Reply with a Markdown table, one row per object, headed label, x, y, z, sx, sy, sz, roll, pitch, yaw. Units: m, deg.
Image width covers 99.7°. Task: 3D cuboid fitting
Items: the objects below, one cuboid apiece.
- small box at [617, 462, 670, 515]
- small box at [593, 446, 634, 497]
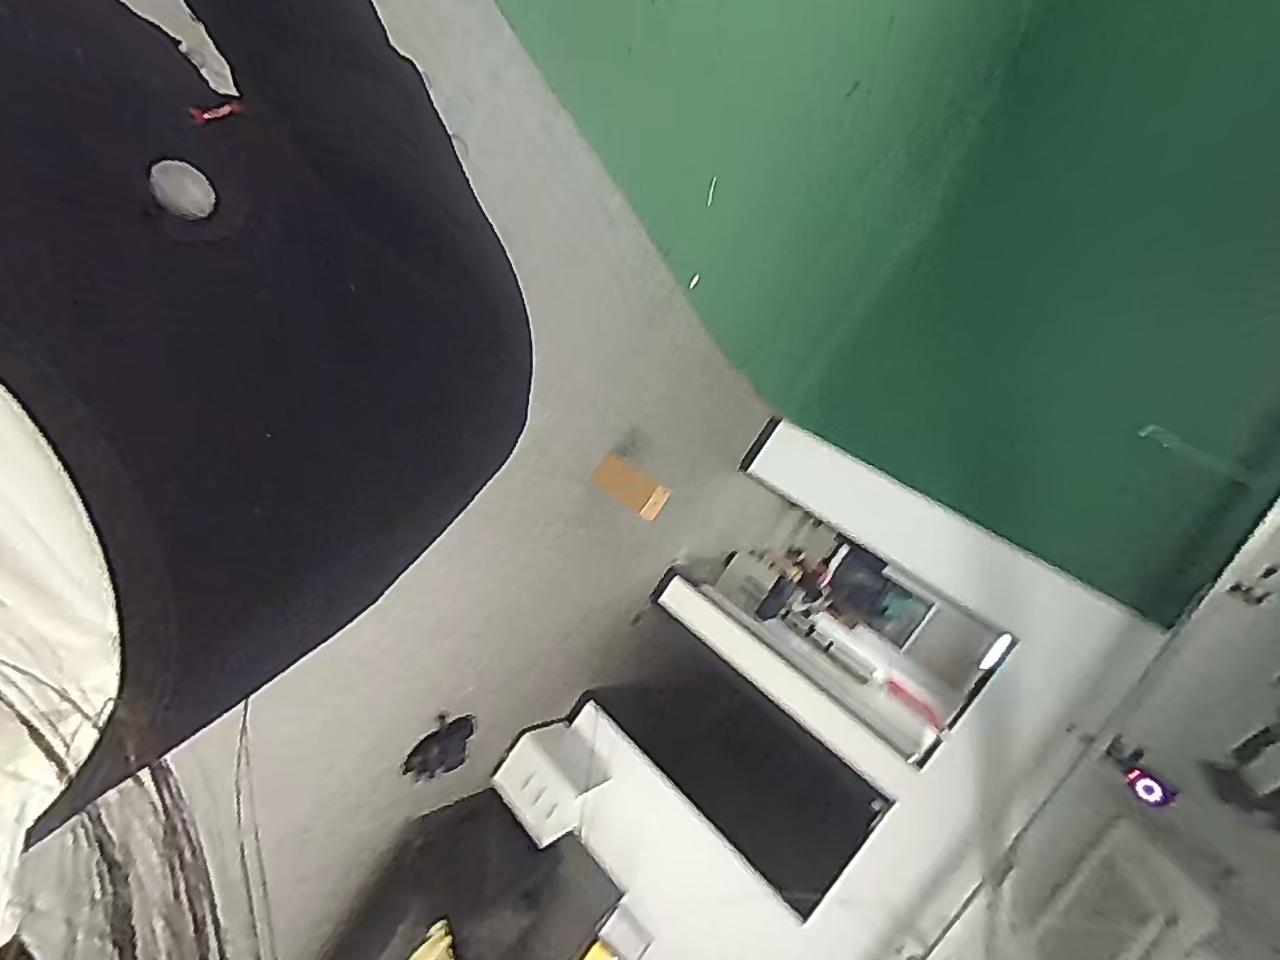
| label | x | y | z | sx | sy | sz | roll | pitch | yaw |
| --- | --- | --- | --- | --- | --- | --- | --- | --- | --- |
| small box | 0.009 | 0.042 | 2.649 | 0.179 | 0.176 | 0.168 | -54 | 152 | 1 |
| small box | -0.114 | -0.041 | 2.719 | 0.179 | 0.176 | 0.168 | -55 | 153 | 4 |
